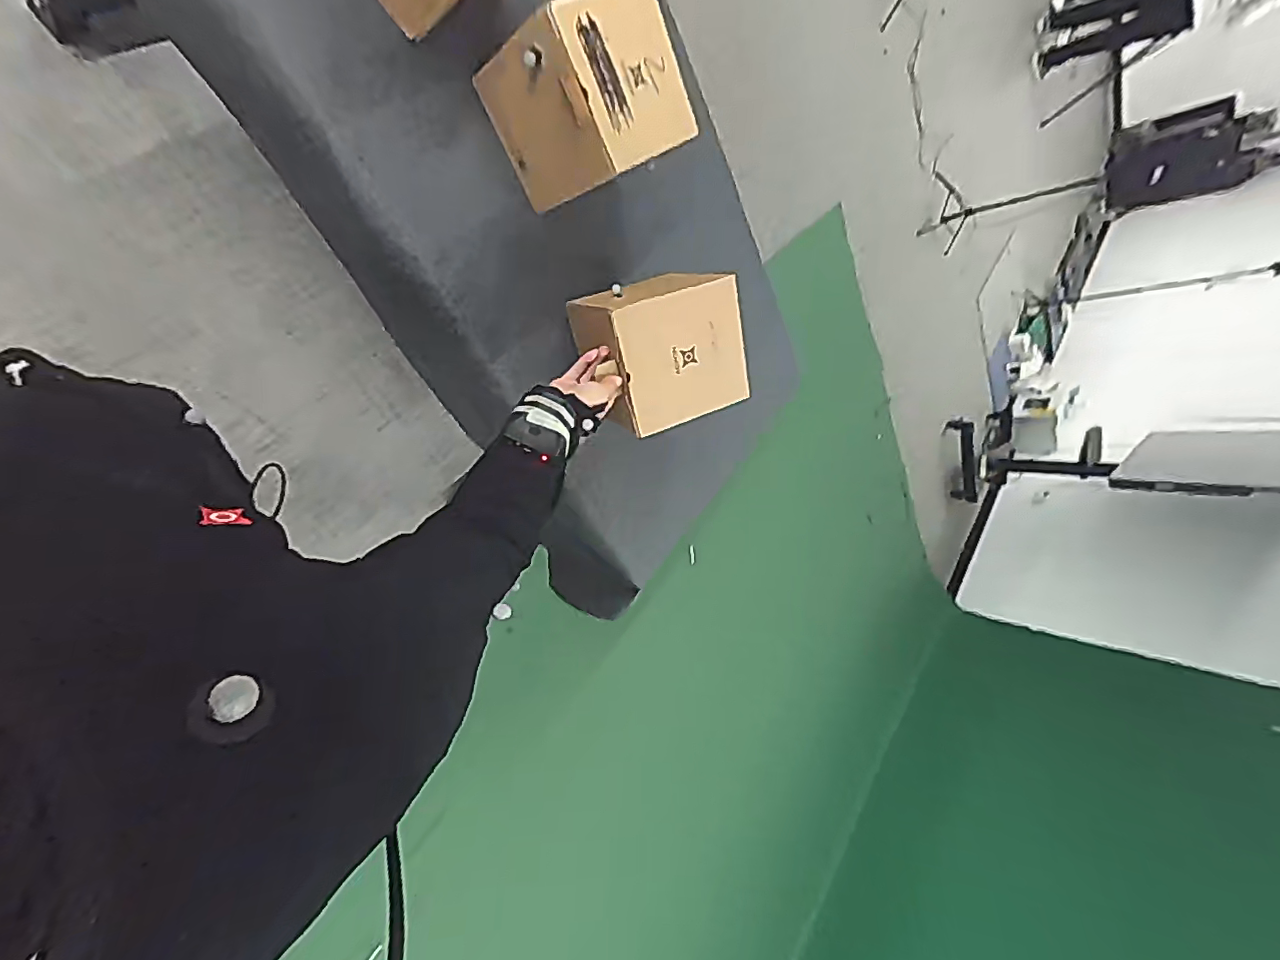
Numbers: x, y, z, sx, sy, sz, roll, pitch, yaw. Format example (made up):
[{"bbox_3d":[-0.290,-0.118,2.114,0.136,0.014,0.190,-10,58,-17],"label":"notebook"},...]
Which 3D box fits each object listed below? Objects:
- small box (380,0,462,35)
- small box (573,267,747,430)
[{"bbox_3d":[-0.206,-0.603,0.531,0.168,0.176,0.179,44,66,-38],"label":"small box"},{"bbox_3d":[0.020,-0.188,0.749,0.179,0.176,0.168,-24,119,-19],"label":"small box"}]
